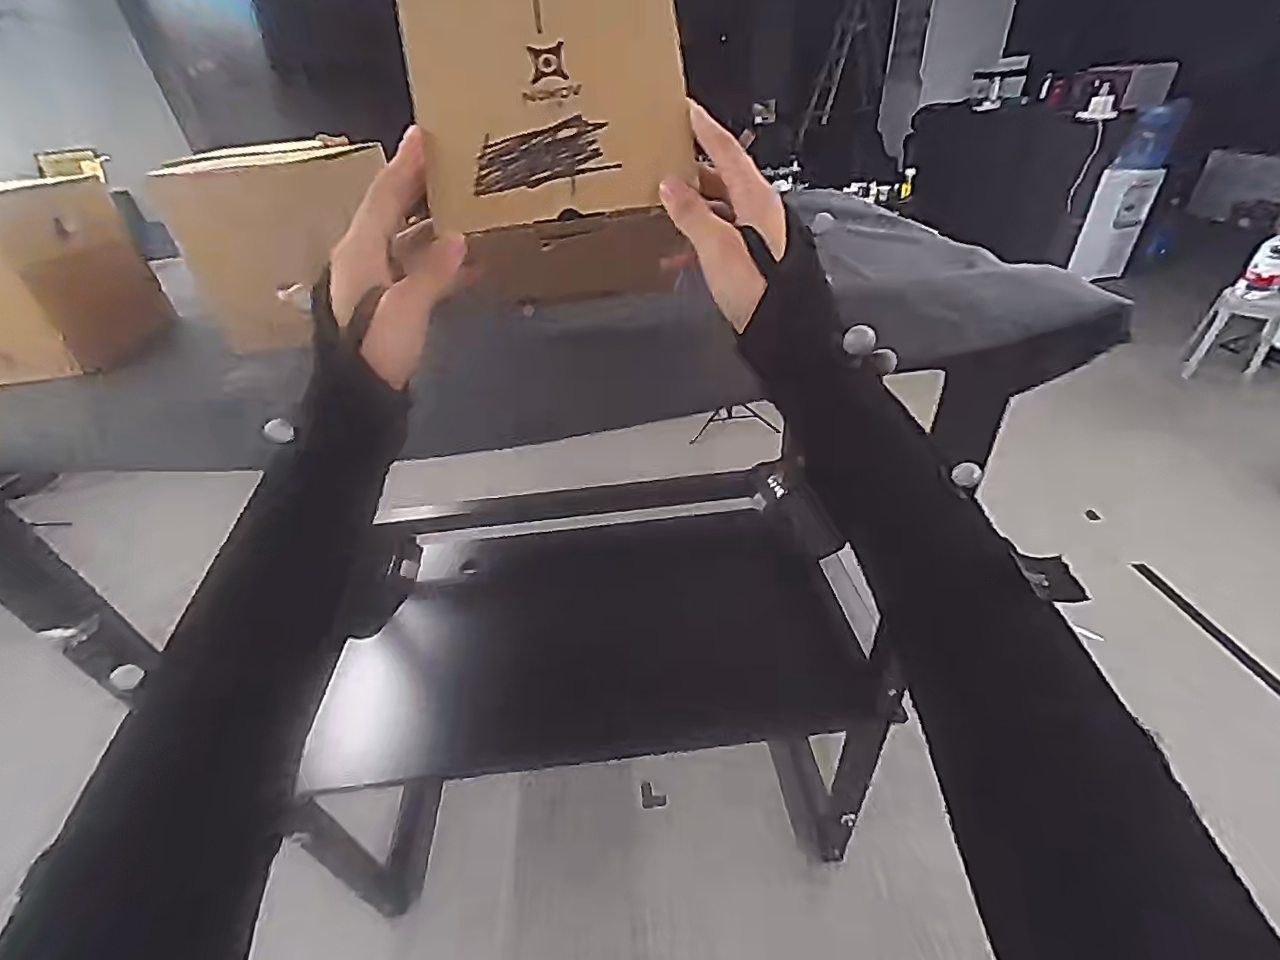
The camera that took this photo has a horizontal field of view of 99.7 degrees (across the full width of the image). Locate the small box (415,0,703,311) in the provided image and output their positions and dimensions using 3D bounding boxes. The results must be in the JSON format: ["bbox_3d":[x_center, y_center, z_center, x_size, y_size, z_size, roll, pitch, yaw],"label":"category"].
[{"bbox_3d":[-0.051,-0.241,0.417,0.168,0.179,0.176,-8,1,-1],"label":"small box"}]

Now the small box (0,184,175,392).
[{"bbox_3d":[-0.655,-0.205,0.576,0.168,0.176,0.179,-8,36,-4],"label":"small box"}]

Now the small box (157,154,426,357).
[{"bbox_3d":[-0.353,-0.250,0.596,0.168,0.176,0.179,-8,36,-3],"label":"small box"}]

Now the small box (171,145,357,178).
[{"bbox_3d":[-0.484,-0.363,0.766,0.179,0.176,0.168,-8,37,-4],"label":"small box"}]
